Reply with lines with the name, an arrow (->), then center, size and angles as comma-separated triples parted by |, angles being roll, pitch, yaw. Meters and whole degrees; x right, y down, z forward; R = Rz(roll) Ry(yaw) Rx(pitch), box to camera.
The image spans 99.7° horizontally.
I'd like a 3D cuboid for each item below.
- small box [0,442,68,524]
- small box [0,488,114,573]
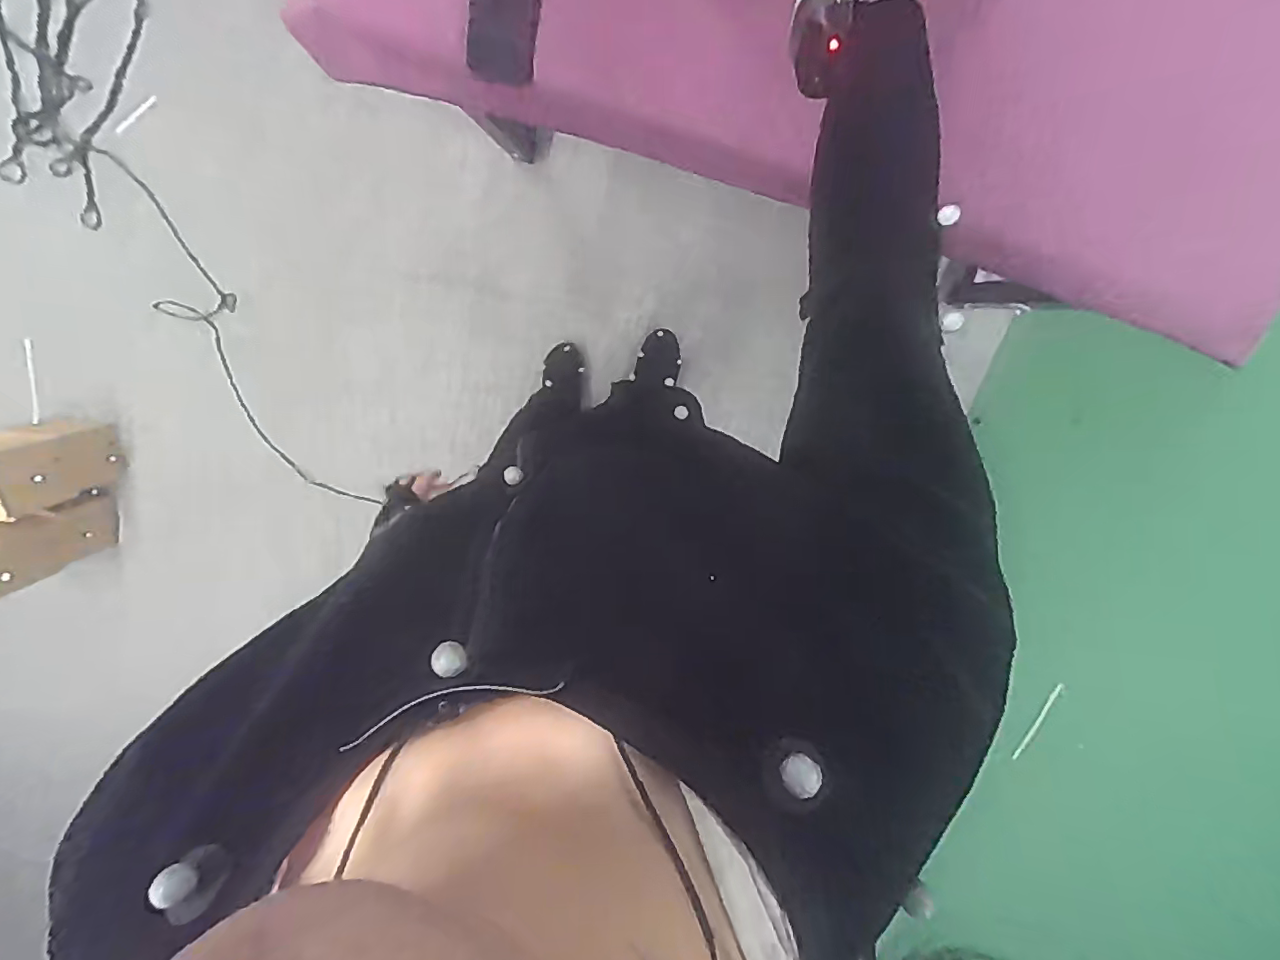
small box -> -1.589, 0.004, 1.337 | 0.179, 0.176, 0.168 | -1, 108, 3
small box -> -1.671, 0.136, 1.553 | 0.168, 0.176, 0.179 | 15, 108, -2
